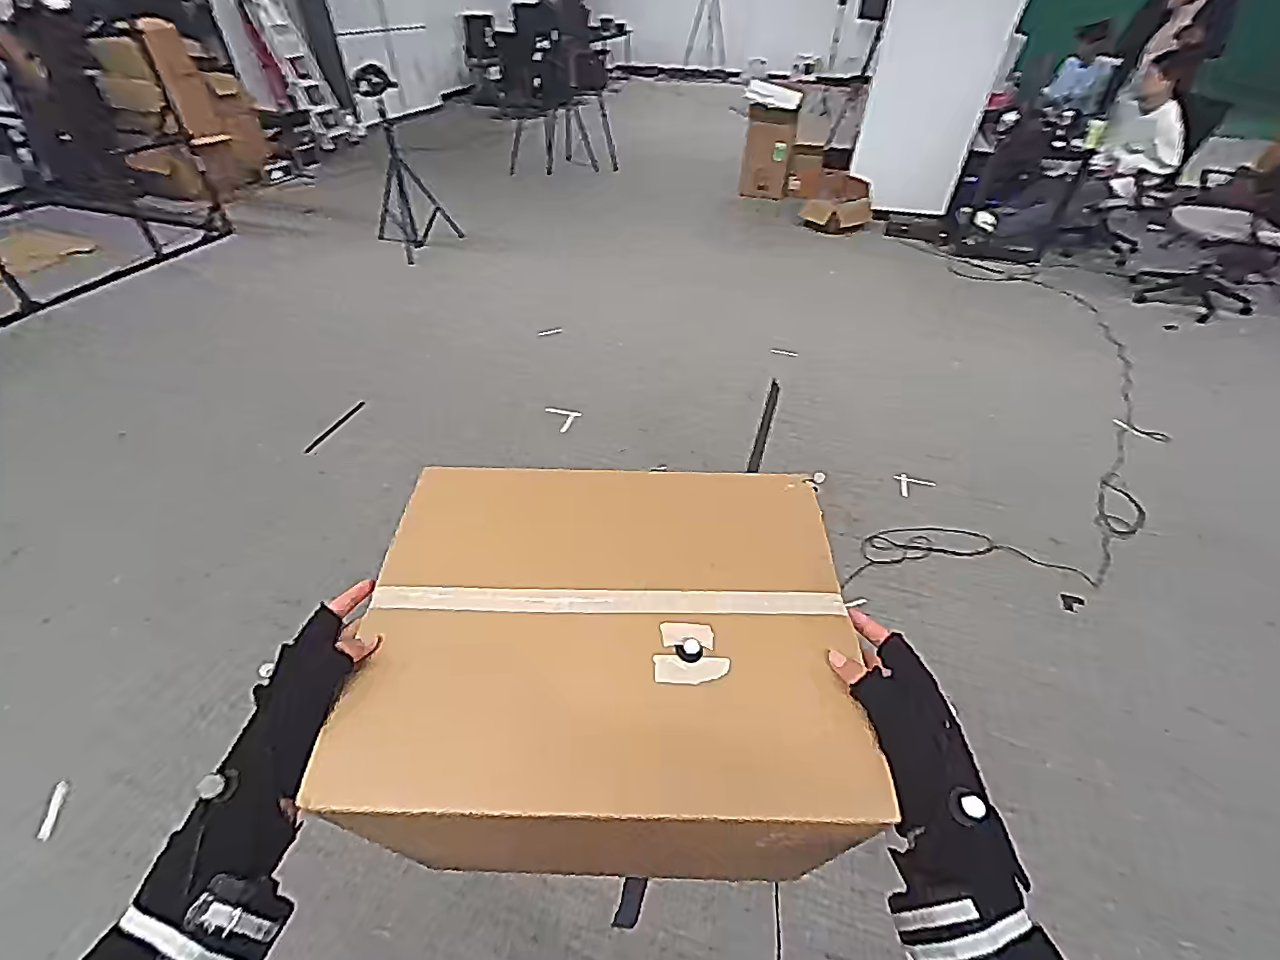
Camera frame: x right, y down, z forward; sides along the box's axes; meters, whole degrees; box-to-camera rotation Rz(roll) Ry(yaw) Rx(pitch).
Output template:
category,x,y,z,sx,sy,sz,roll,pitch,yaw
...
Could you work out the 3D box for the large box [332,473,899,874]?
category,x,y,z,sx,sy,sz,roll,pitch,yaw
large box,-0.018,0.211,0.581,0.408,0.320,0.320,2,48,0
